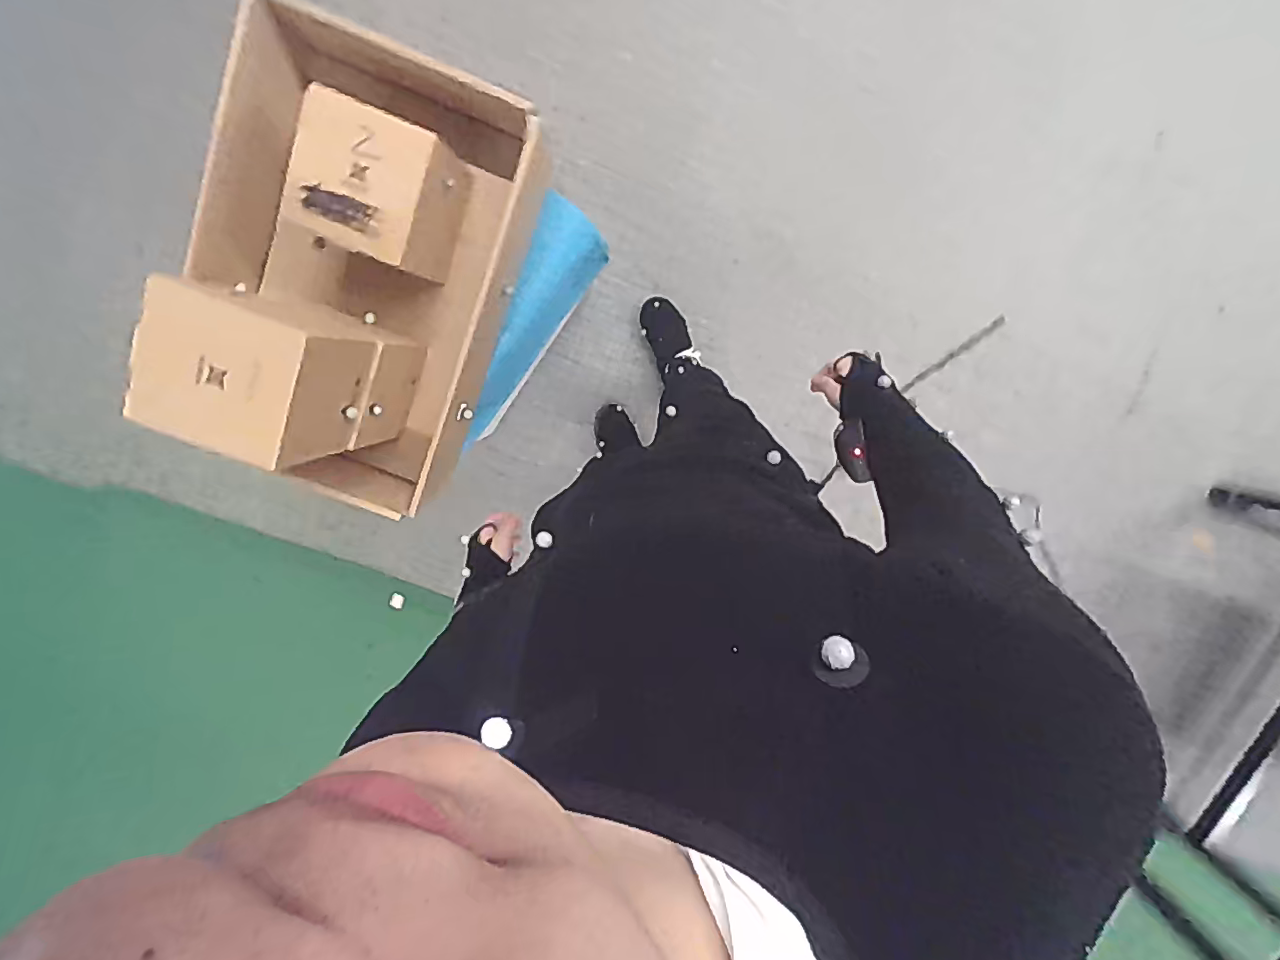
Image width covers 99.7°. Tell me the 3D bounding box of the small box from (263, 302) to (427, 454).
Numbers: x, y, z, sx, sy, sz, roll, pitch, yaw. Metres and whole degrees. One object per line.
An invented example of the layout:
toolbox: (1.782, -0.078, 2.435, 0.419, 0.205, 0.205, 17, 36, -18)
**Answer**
small box: (-0.463, -0.154, 0.835, 0.179, 0.176, 0.168, 21, 101, -3)

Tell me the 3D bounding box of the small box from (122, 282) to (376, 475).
small box: (-0.470, -0.123, 0.675, 0.179, 0.176, 0.168, 21, 100, -4)
